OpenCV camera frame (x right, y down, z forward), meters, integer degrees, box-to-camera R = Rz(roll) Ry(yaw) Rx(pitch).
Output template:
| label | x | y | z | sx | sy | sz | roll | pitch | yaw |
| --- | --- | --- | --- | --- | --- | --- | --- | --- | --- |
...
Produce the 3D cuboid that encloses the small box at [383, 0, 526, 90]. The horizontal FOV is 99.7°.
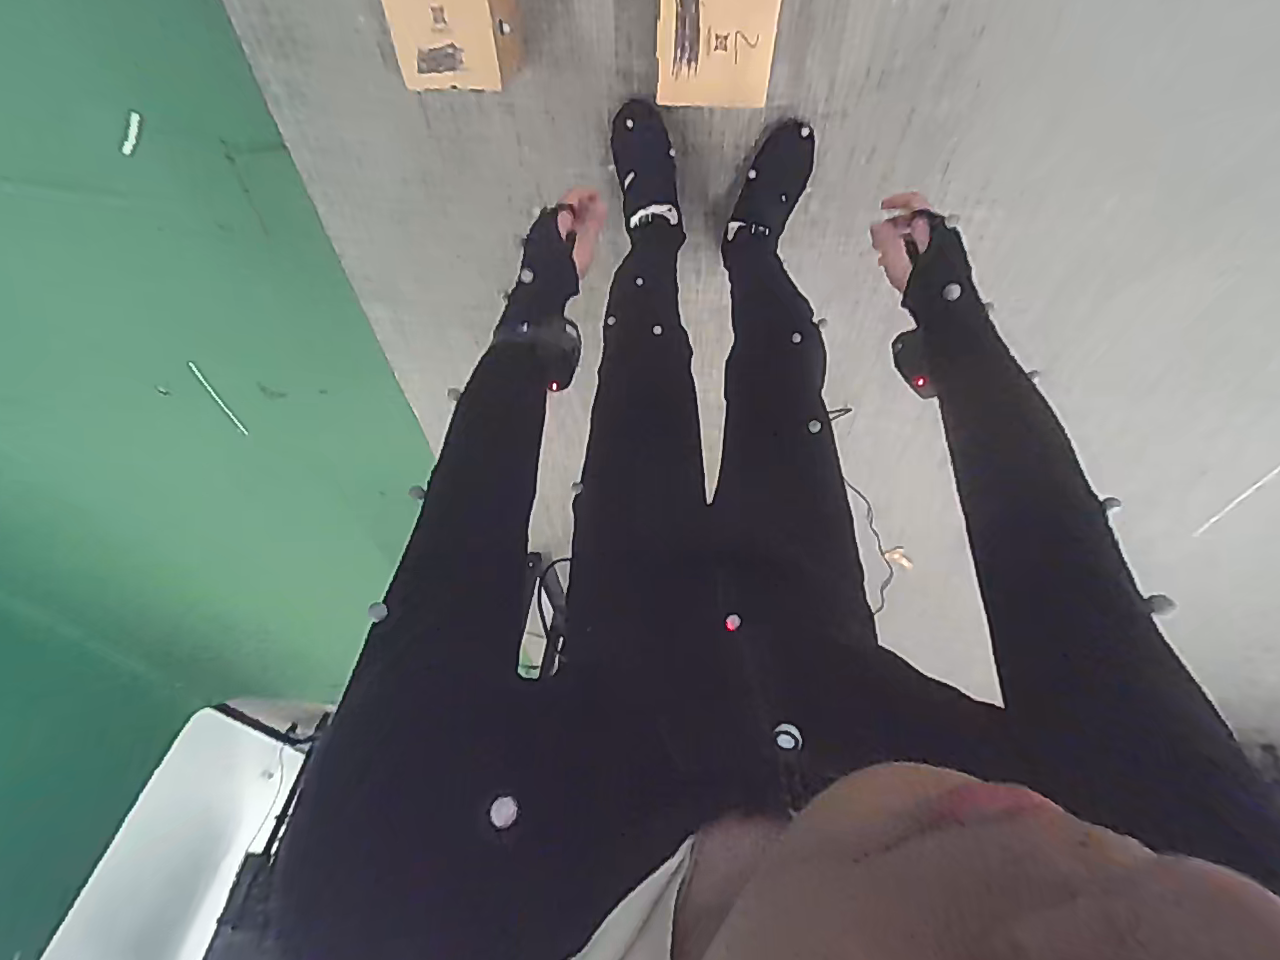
| label | x | y | z | sx | sy | sz | roll | pitch | yaw |
| --- | --- | --- | --- | --- | --- | --- | --- | --- | --- |
| small box | -0.289 | -0.748 | 0.857 | 0.168 | 0.176 | 0.179 | 4 | 139 | 4 |
